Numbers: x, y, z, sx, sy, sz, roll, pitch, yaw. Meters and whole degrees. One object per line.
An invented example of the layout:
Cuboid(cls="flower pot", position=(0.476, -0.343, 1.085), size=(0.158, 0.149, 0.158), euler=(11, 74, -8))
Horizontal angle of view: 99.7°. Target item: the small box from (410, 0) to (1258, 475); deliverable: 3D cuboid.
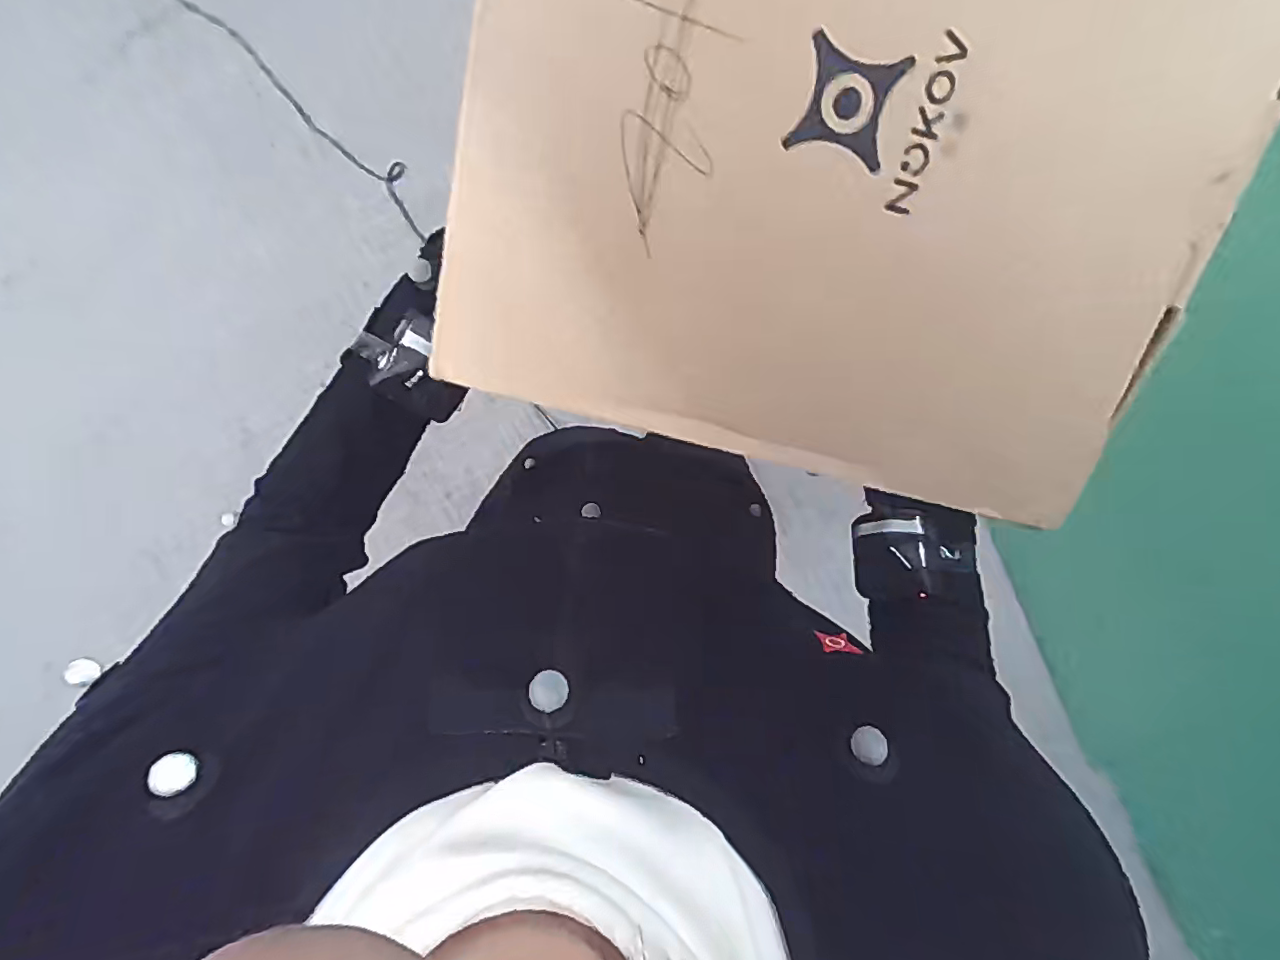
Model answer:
Cuboid(cls="small box", position=(0.044, -0.117, 0.197), size=(0.179, 0.176, 0.168), euler=(12, 107, 0))
